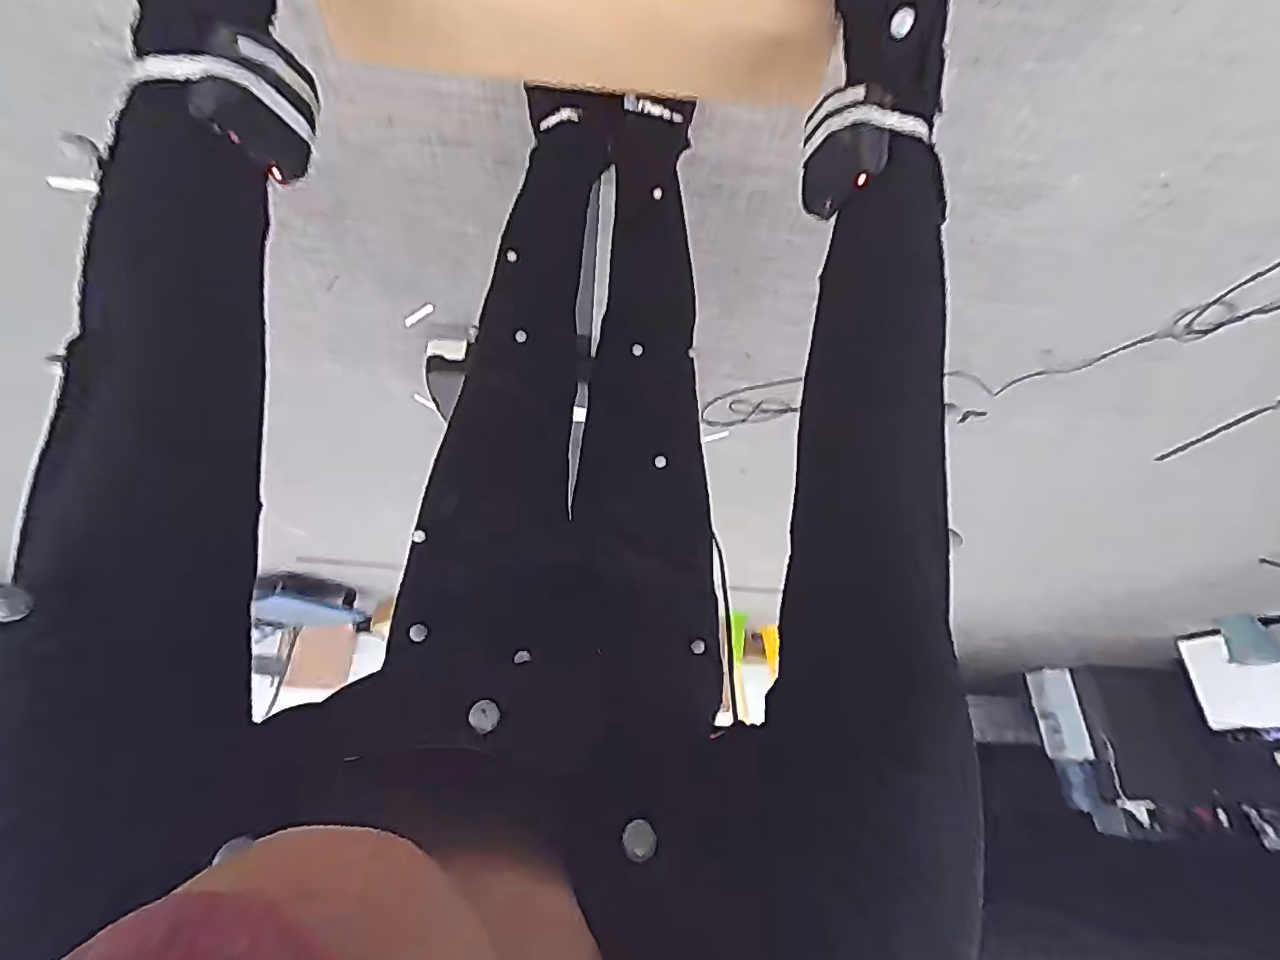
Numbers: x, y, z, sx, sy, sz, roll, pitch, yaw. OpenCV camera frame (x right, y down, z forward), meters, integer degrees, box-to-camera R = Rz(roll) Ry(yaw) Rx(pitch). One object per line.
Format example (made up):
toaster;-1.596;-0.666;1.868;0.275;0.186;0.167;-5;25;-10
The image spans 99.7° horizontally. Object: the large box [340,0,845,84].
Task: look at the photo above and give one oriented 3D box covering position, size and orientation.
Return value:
large box;-0.032;-0.558;0.411;0.408;0.320;0.320;2;150;-3
